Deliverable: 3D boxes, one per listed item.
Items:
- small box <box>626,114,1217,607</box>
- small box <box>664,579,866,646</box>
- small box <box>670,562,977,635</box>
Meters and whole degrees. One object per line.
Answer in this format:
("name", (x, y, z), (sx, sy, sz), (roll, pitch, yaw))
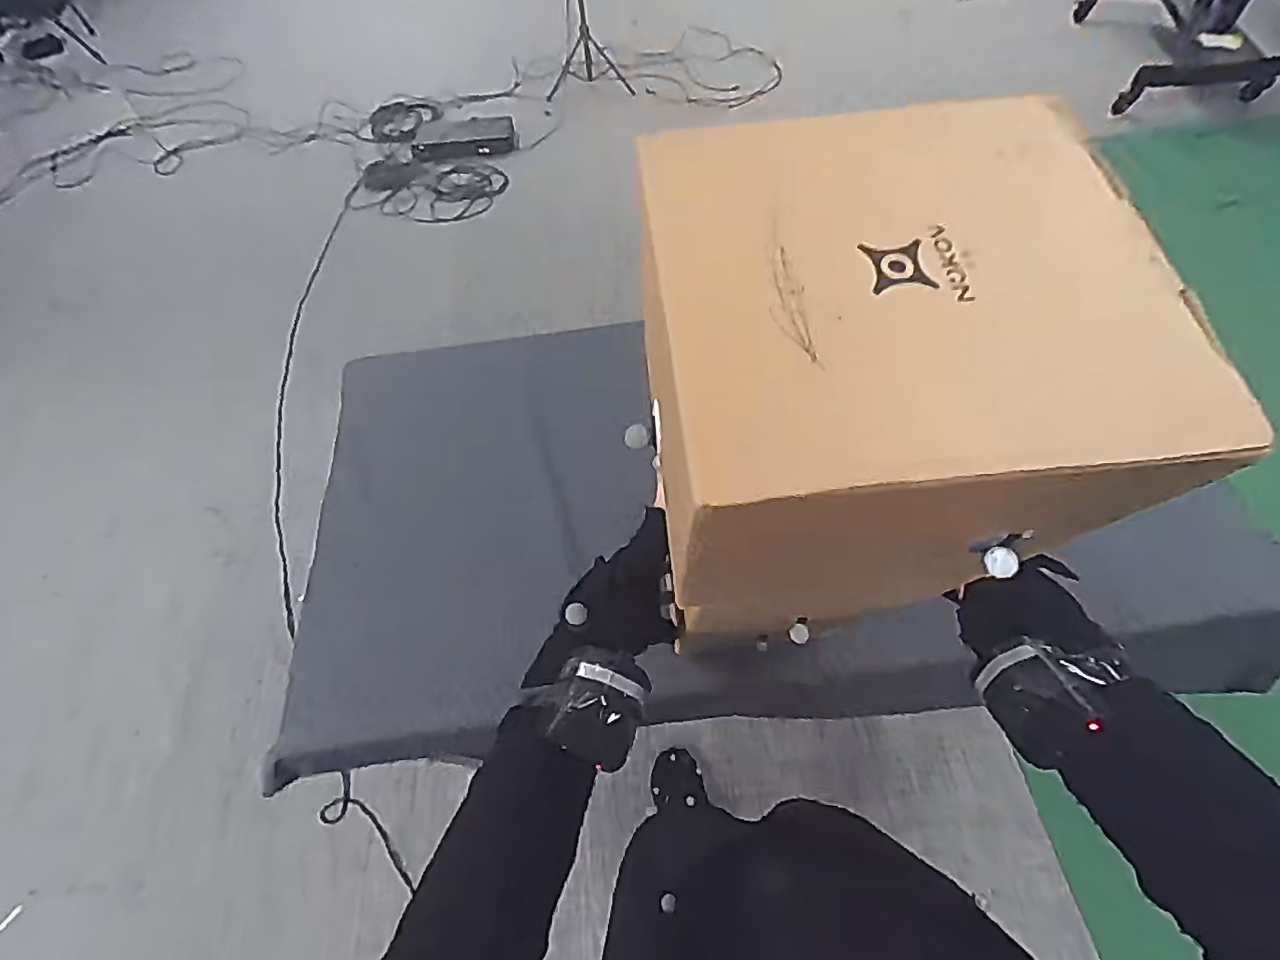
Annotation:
("small box", (0.091, -0.039, 0.273), (0.179, 0.176, 0.168), (-7, 66, 1))
("small box", (0.114, 0.077, 0.573), (0.179, 0.176, 0.168), (-5, 65, 0))
("small box", (0.109, 0.020, 0.422), (0.179, 0.176, 0.168), (-6, 65, -1))
